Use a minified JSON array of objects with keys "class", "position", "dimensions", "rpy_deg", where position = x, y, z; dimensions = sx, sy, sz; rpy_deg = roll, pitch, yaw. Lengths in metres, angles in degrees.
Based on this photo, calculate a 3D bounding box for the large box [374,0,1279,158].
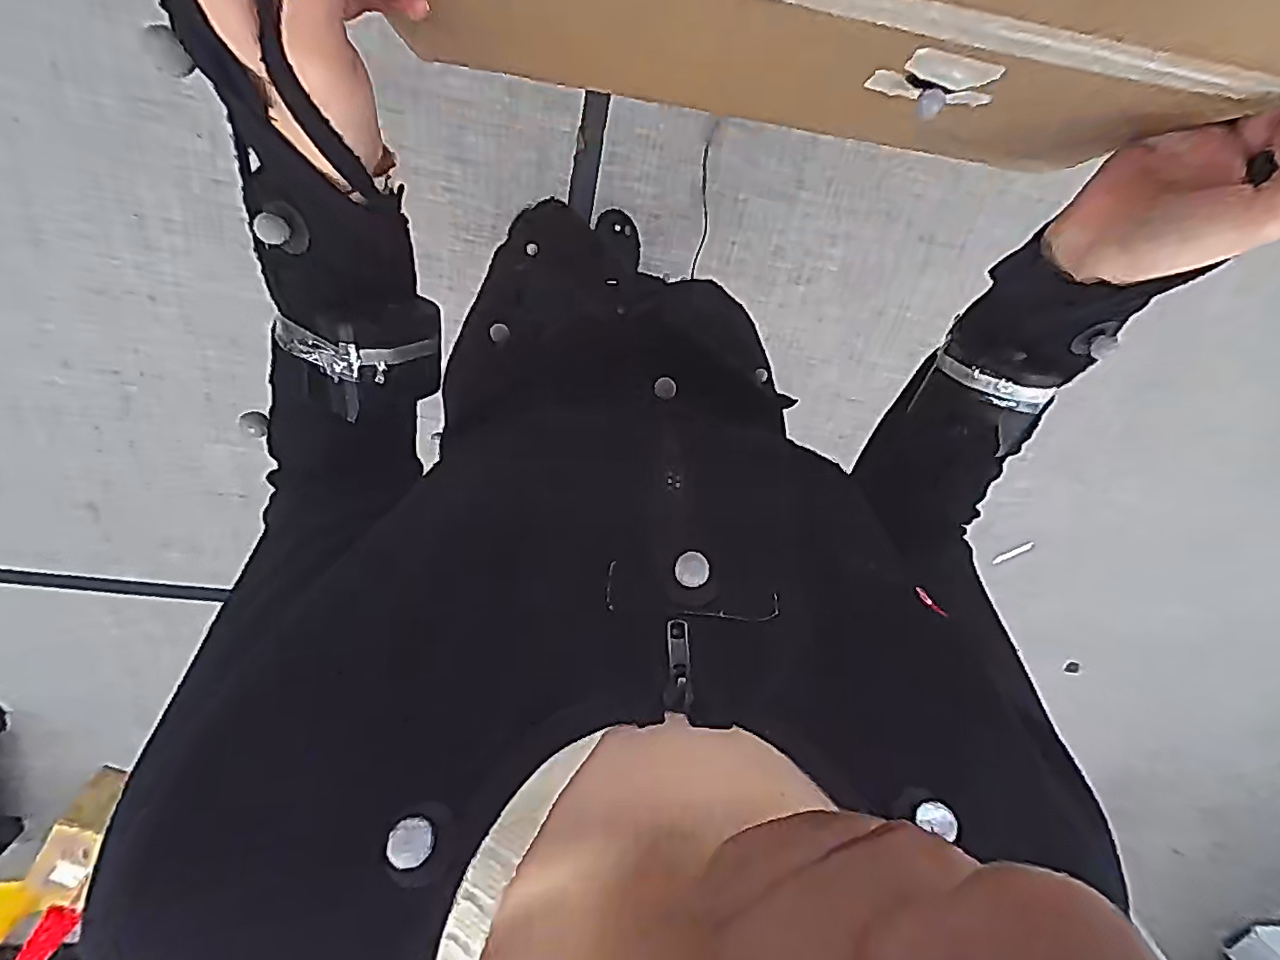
[{"class":"large box","position":[0.088,-0.332,0.156],"dimensions":[0.408,0.320,0.320],"rpy_deg":[6,109,-5]}]
